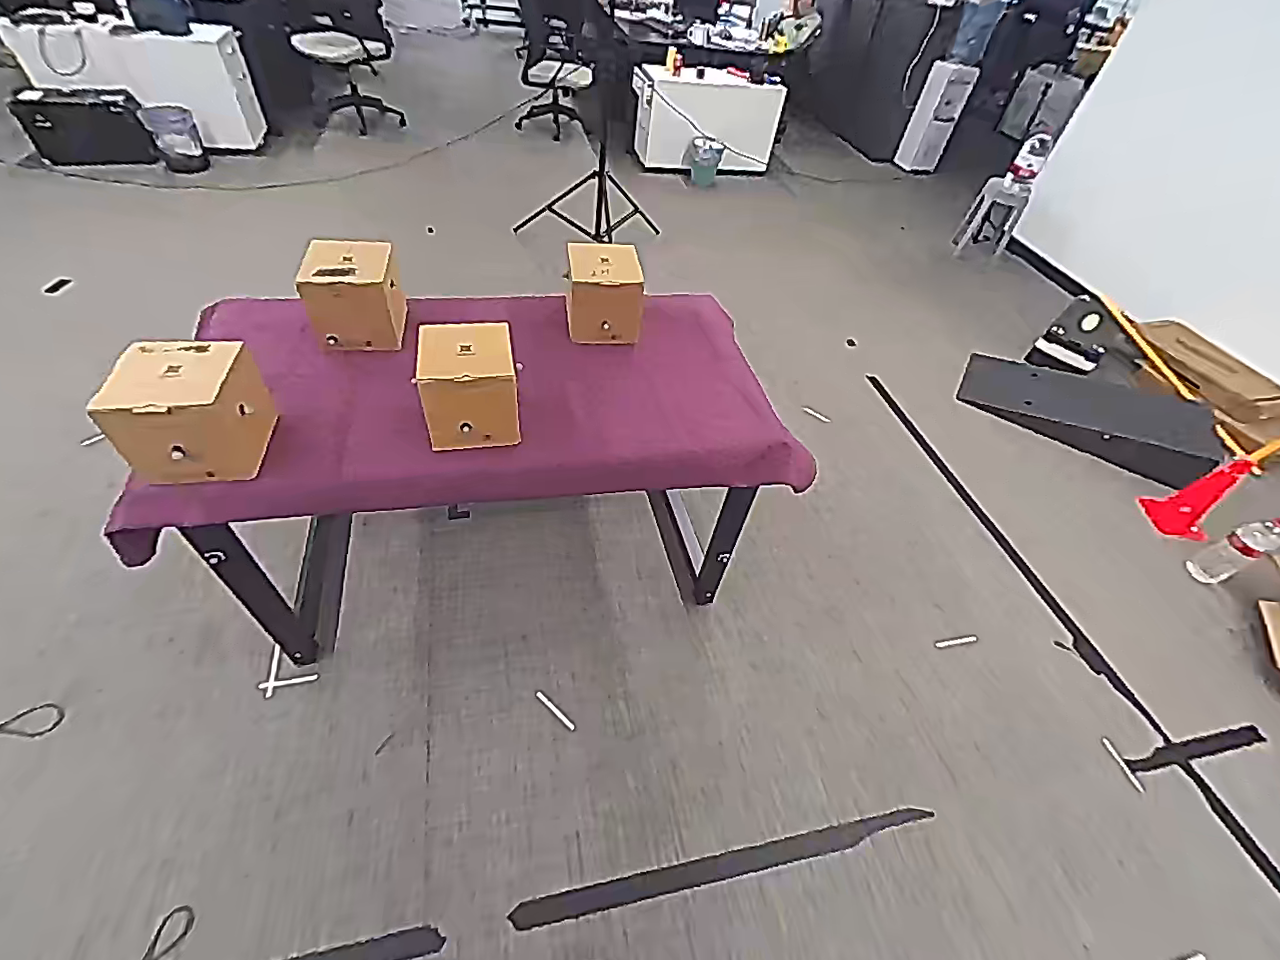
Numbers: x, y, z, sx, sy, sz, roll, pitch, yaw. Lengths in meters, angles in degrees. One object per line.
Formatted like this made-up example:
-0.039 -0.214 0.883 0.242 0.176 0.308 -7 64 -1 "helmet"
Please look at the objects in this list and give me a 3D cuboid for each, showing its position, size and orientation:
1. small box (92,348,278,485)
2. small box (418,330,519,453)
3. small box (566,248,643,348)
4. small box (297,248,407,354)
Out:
-0.751 -0.104 0.921 0.168 0.176 0.179 -4 49 -13 "small box"
-0.328 -0.173 1.052 0.168 0.176 0.179 -6 48 -14 "small box"
-0.094 -0.446 1.327 0.168 0.176 0.179 -3 51 -10 "small box"
-0.628 -0.395 1.204 0.168 0.176 0.179 -3 49 -12 "small box"
